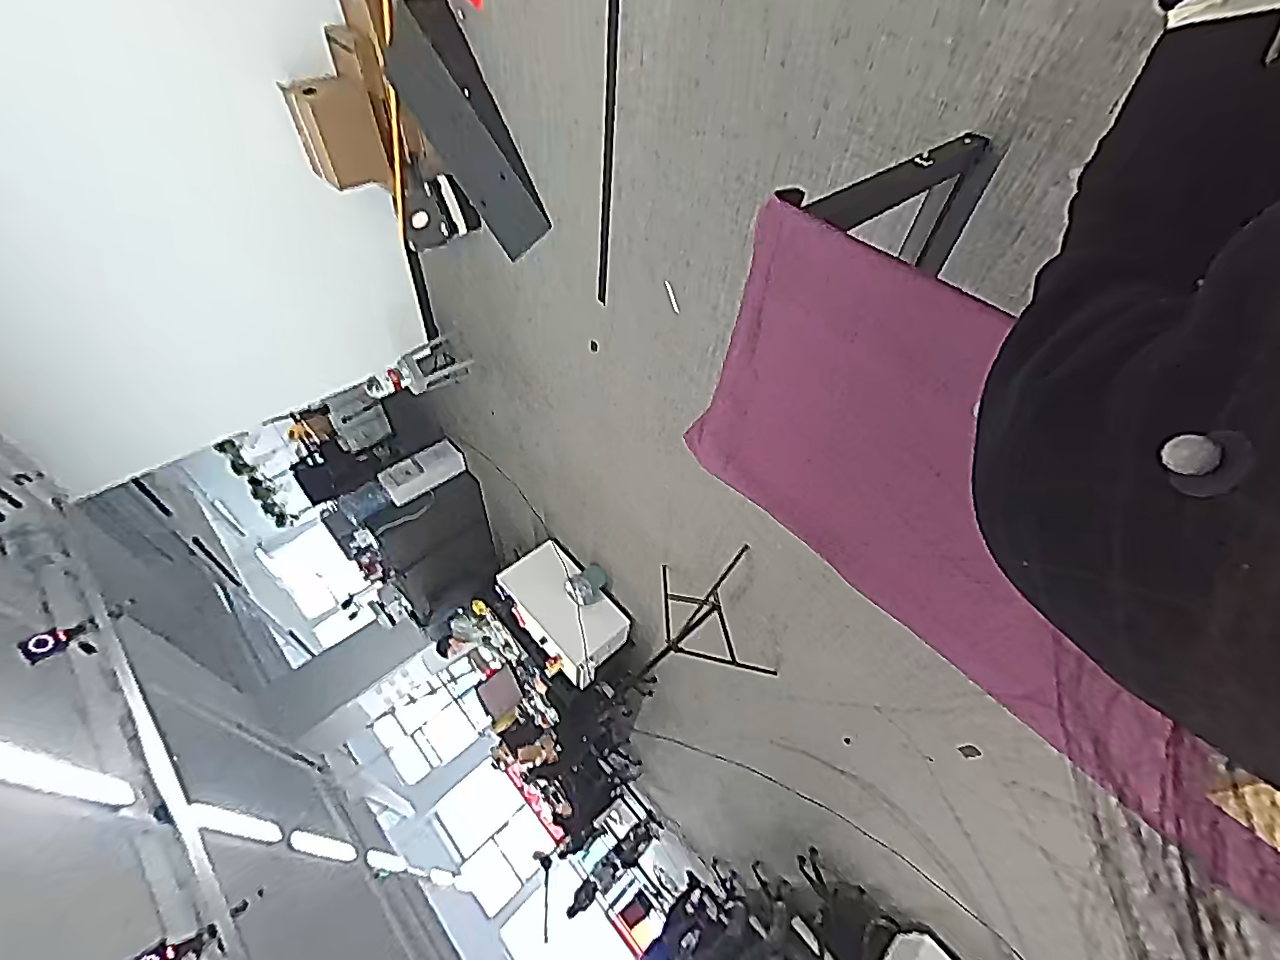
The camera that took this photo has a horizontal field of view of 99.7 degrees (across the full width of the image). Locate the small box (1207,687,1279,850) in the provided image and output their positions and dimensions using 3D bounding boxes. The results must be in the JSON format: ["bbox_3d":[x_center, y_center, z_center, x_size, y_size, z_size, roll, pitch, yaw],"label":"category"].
[{"bbox_3d":[0.778,0.322,0.566,0.179,0.176,0.168,40,149,26],"label":"small box"}]
